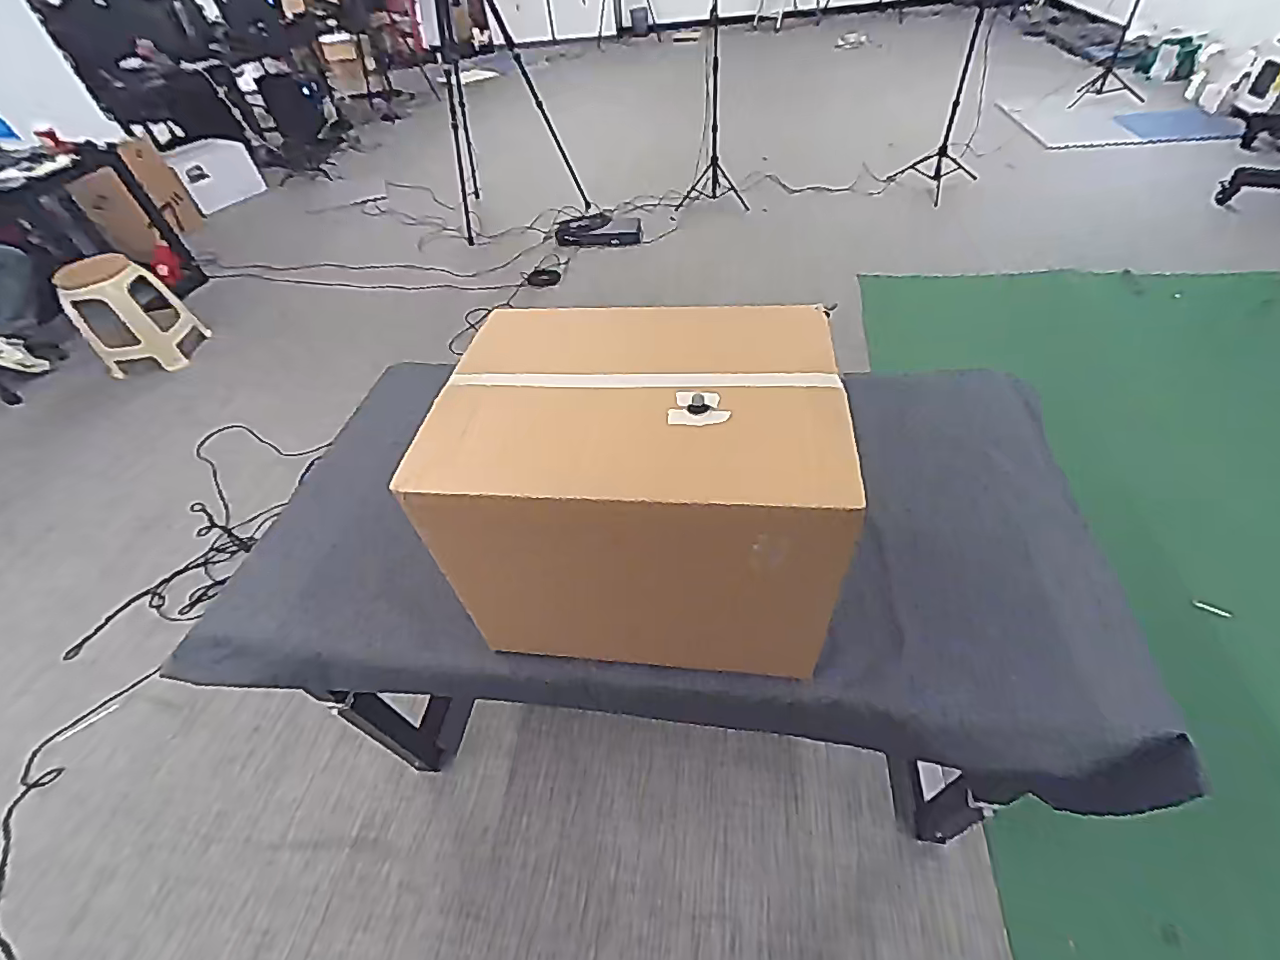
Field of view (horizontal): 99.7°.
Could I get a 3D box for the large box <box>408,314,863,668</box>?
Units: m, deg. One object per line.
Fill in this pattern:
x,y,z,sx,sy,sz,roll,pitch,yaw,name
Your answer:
0.011,0.010,0.668,0.408,0.320,0.320,2,47,8,large box
